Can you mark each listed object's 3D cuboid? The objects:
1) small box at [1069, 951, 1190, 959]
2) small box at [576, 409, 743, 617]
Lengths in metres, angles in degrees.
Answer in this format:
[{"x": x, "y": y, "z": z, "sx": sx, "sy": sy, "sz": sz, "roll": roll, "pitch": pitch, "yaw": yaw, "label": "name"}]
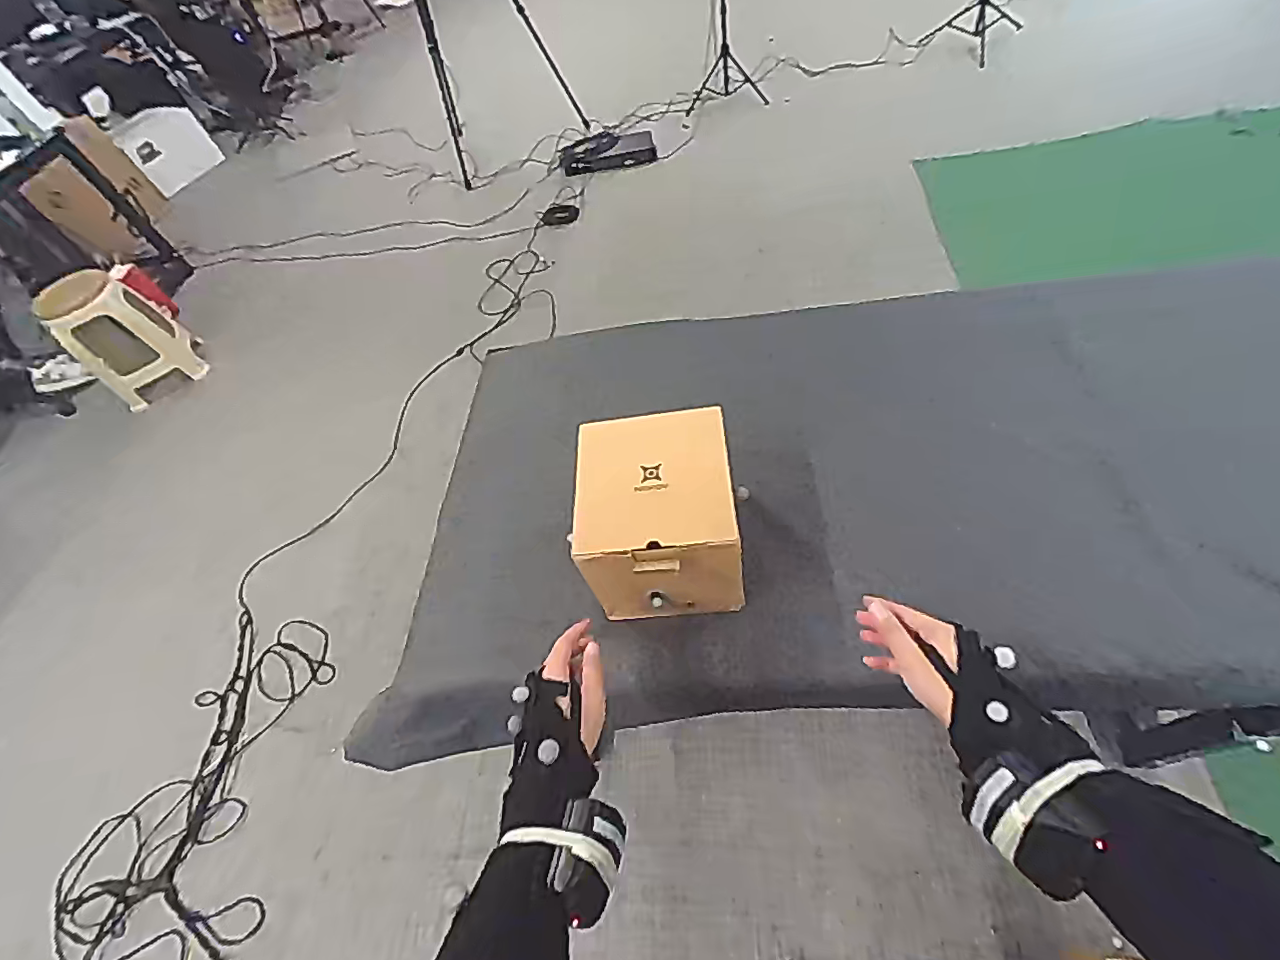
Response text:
[{"x": 0.790, "y": 0.826, "z": 0.811, "sx": 0.179, "sy": 0.176, "sz": 0.168, "roll": -5, "pitch": 53, "yaw": 9, "label": "small box"}, {"x": 0.029, "y": 0.044, "z": 0.635, "sx": 0.168, "sy": 0.176, "sz": 0.179, "roll": -7, "pitch": 54, "yaw": 7, "label": "small box"}]
